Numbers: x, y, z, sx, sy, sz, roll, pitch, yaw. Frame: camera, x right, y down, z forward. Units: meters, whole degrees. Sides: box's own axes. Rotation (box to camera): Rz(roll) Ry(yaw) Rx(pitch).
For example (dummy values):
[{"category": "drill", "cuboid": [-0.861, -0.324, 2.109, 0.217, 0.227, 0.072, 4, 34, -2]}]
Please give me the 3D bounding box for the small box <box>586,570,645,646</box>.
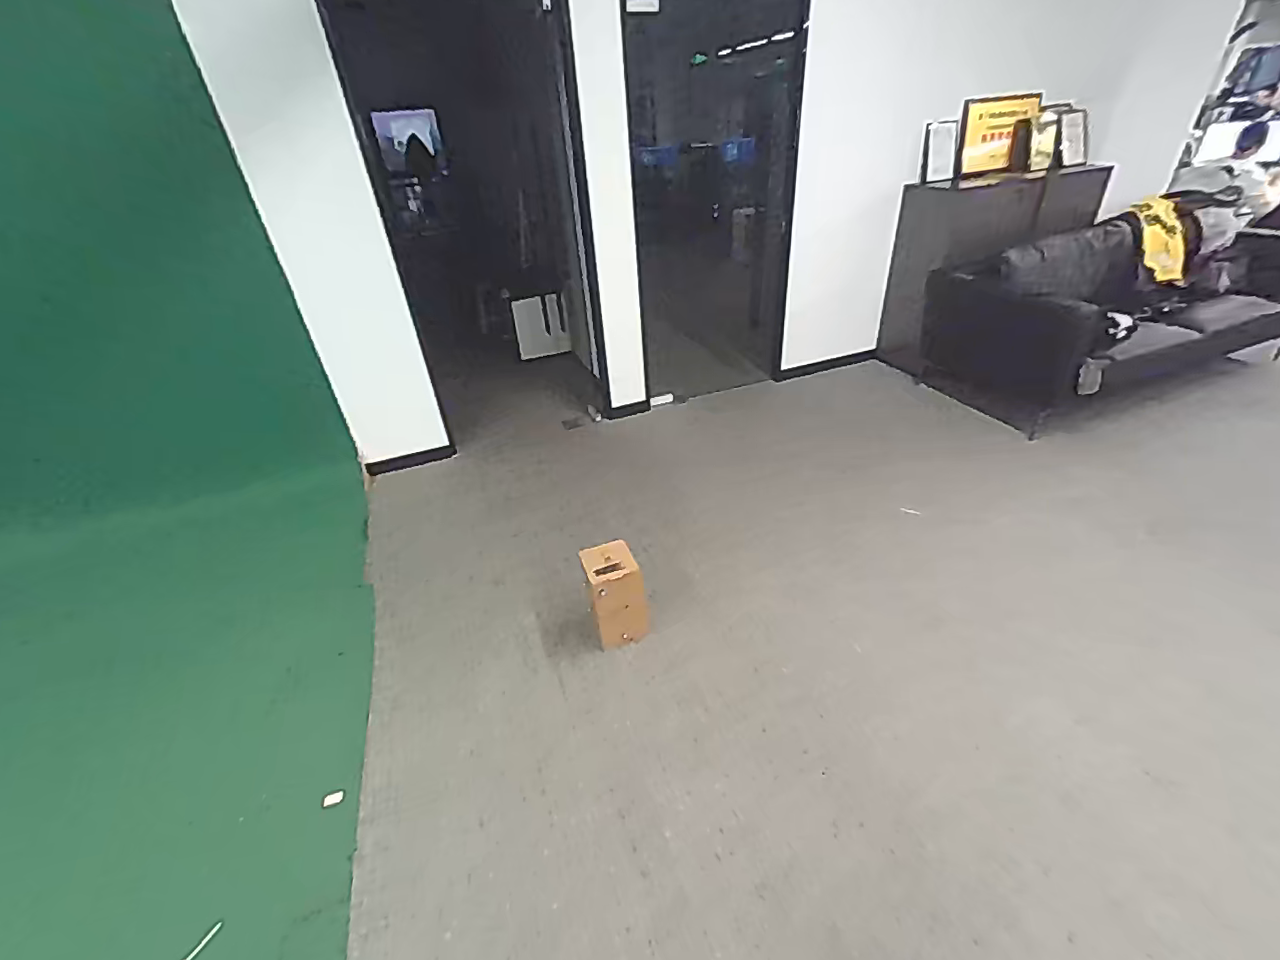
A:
[{"category": "small box", "cuboid": [-0.088, 0.458, 1.933, 0.168, 0.176, 0.179, -15, 36, -14]}]
